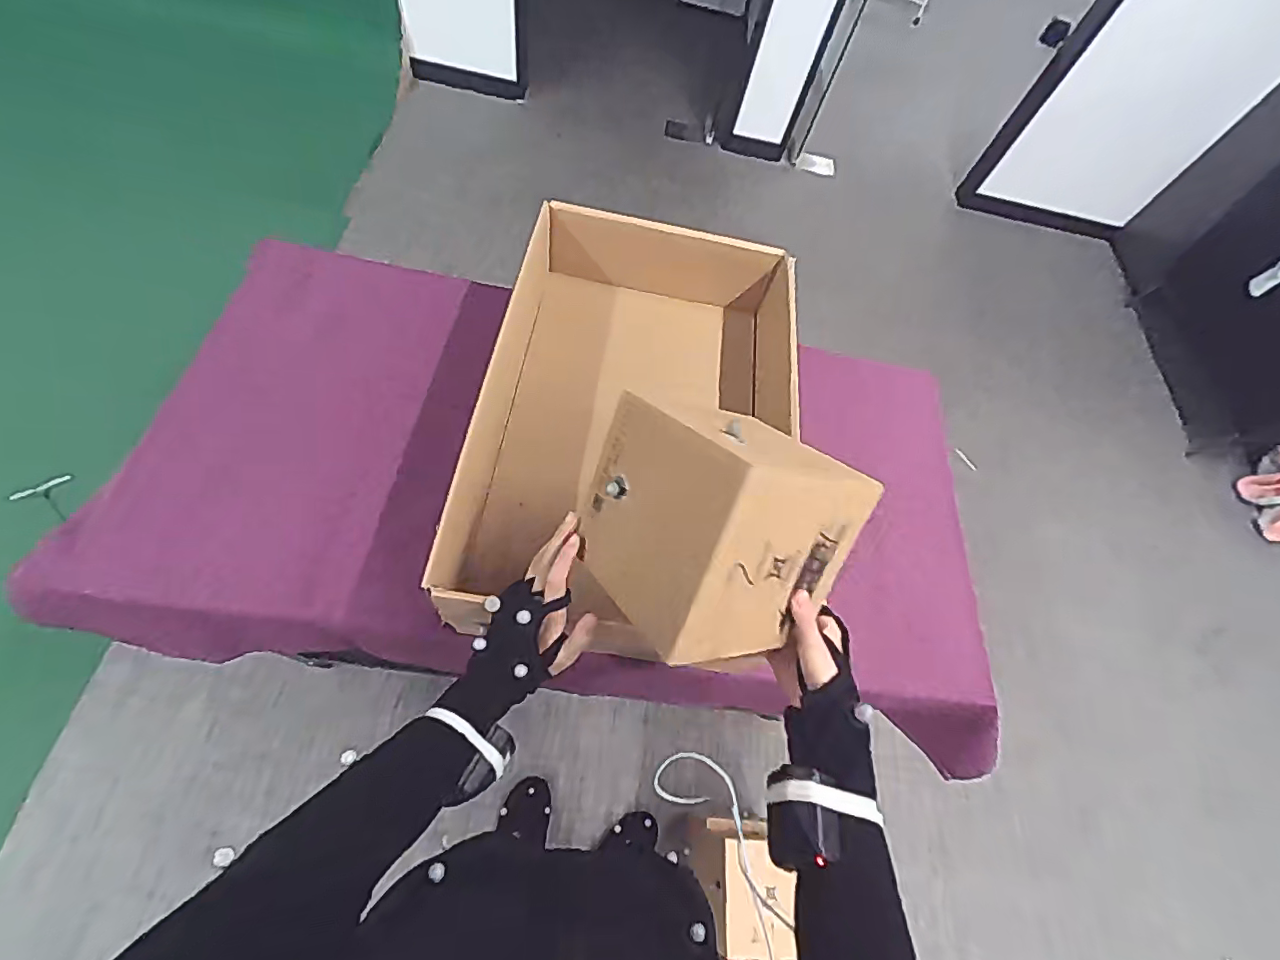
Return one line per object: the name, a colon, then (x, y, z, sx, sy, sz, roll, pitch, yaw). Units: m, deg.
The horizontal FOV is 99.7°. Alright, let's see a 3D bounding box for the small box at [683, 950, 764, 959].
small box: (0.175, 1.056, 1.066, 0.179, 0.176, 0.168, 5, 62, -9)
